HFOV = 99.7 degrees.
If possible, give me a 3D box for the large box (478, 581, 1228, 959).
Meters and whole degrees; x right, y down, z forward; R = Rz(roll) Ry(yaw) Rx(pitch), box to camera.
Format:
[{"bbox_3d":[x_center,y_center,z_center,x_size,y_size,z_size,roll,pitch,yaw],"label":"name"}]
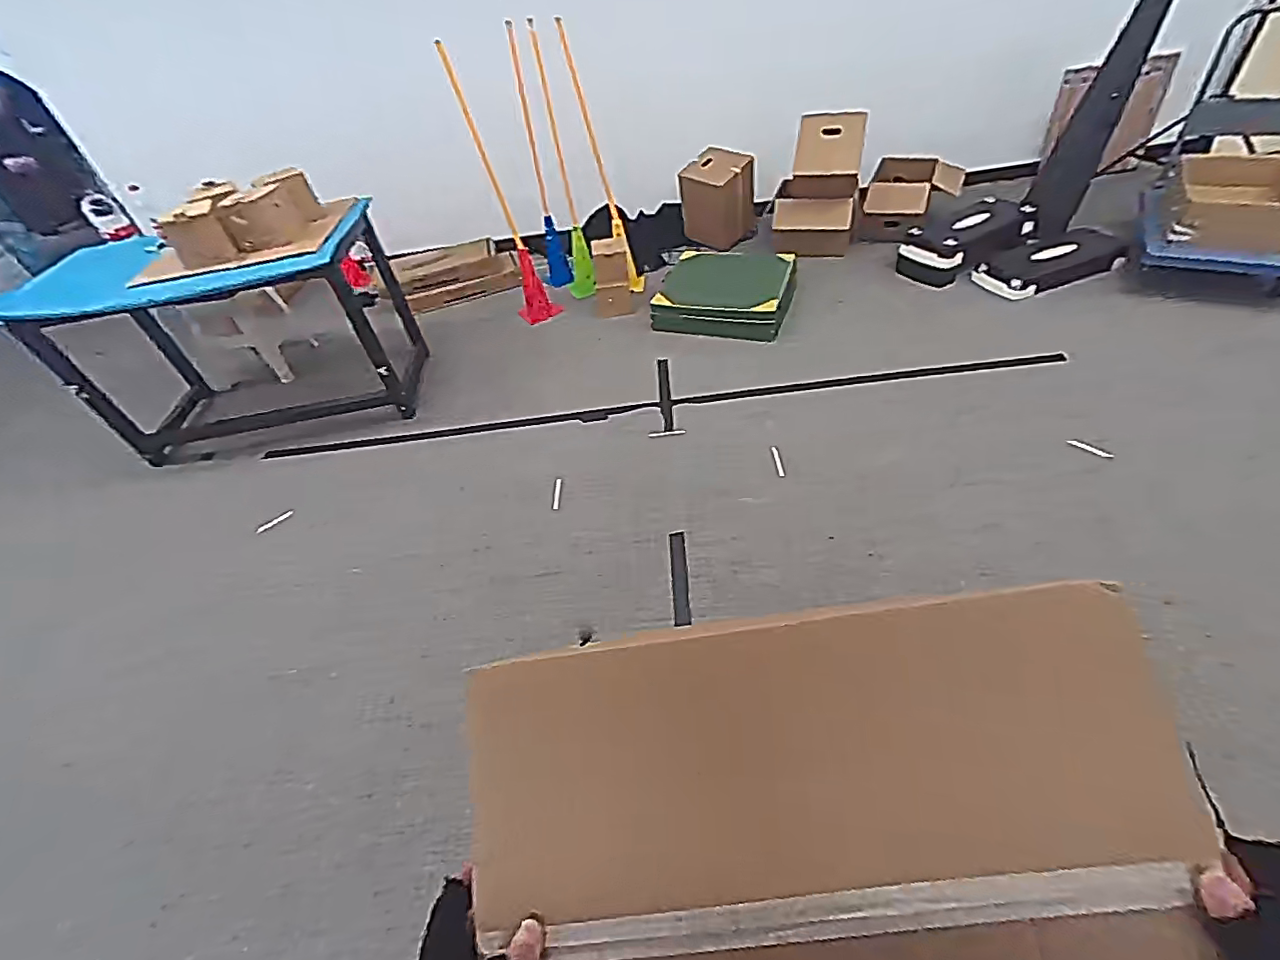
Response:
[{"bbox_3d":[0.124,0.281,0.454,0.408,0.320,0.320,-10,76,5],"label":"large box"}]
